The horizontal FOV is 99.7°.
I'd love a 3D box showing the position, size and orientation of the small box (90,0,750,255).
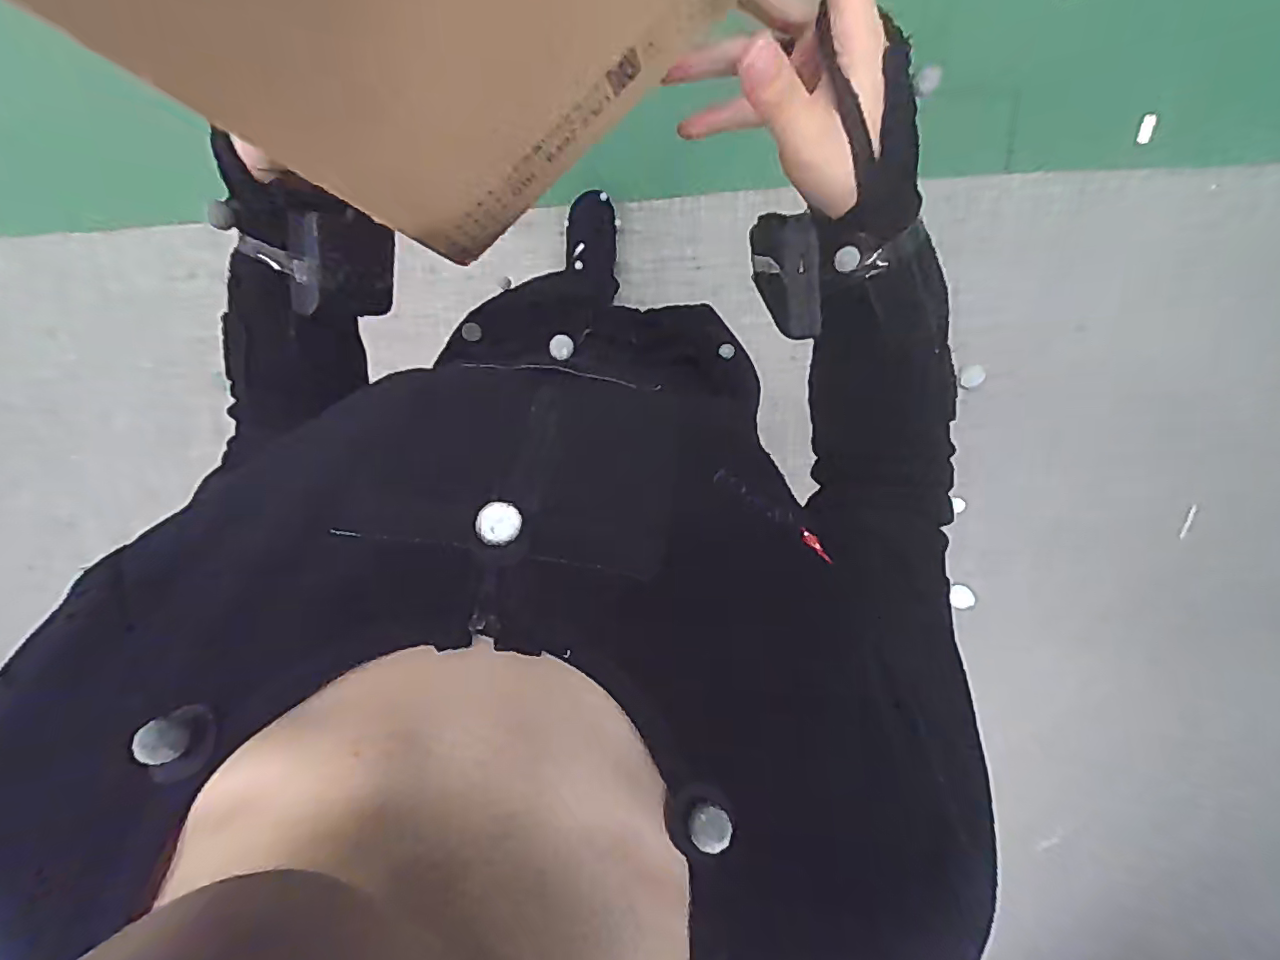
[{"bbox_3d":[-0.079,-0.208,0.169,0.168,0.176,0.179,-39,86,12],"label":"small box"}]
